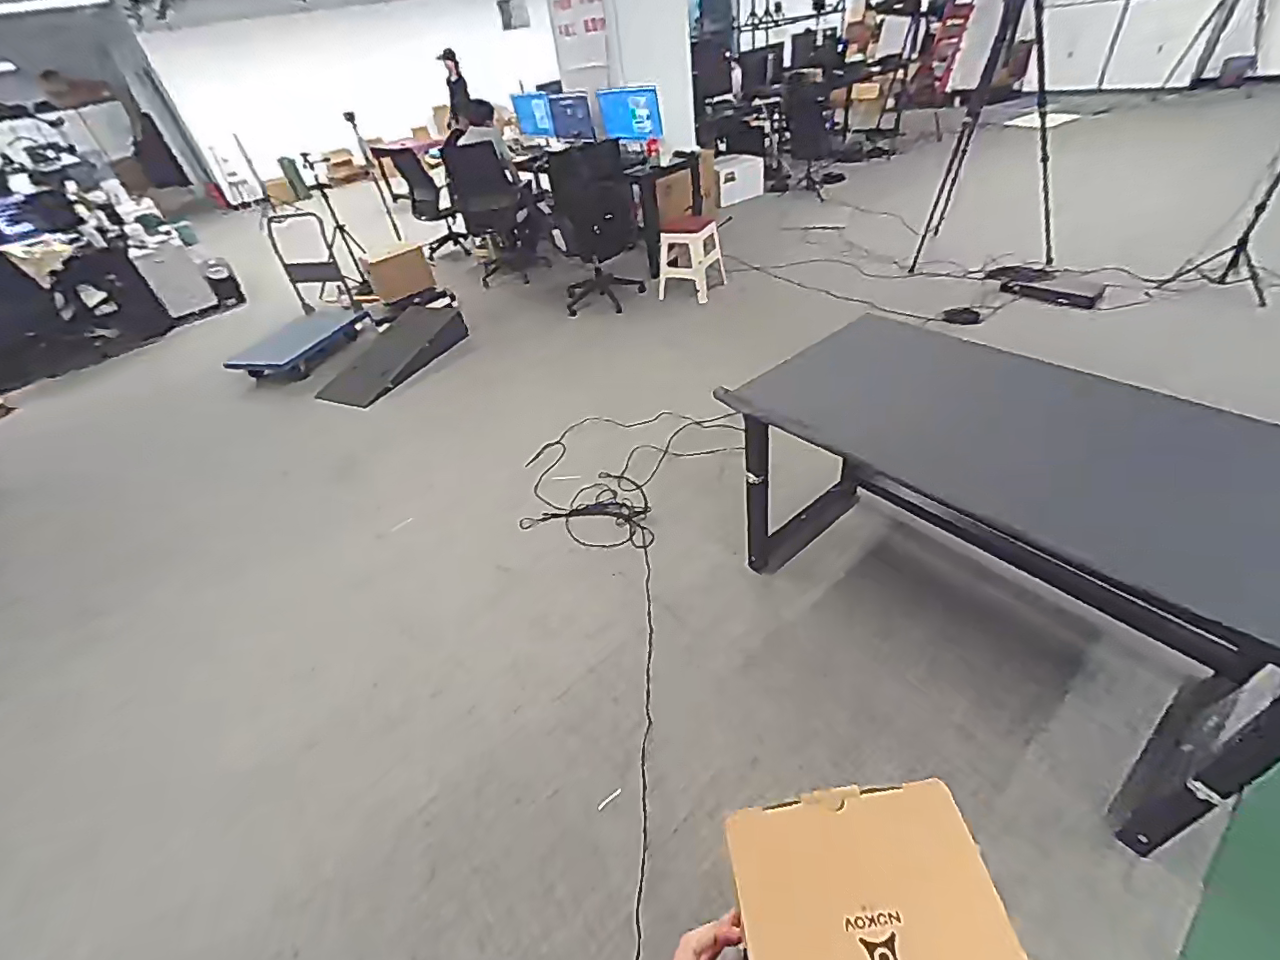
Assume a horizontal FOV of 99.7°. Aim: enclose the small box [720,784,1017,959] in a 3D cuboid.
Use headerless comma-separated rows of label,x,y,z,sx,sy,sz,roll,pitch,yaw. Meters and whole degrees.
small box,0.159,0.352,0.390,0.168,0.176,0.179,-10,41,3
